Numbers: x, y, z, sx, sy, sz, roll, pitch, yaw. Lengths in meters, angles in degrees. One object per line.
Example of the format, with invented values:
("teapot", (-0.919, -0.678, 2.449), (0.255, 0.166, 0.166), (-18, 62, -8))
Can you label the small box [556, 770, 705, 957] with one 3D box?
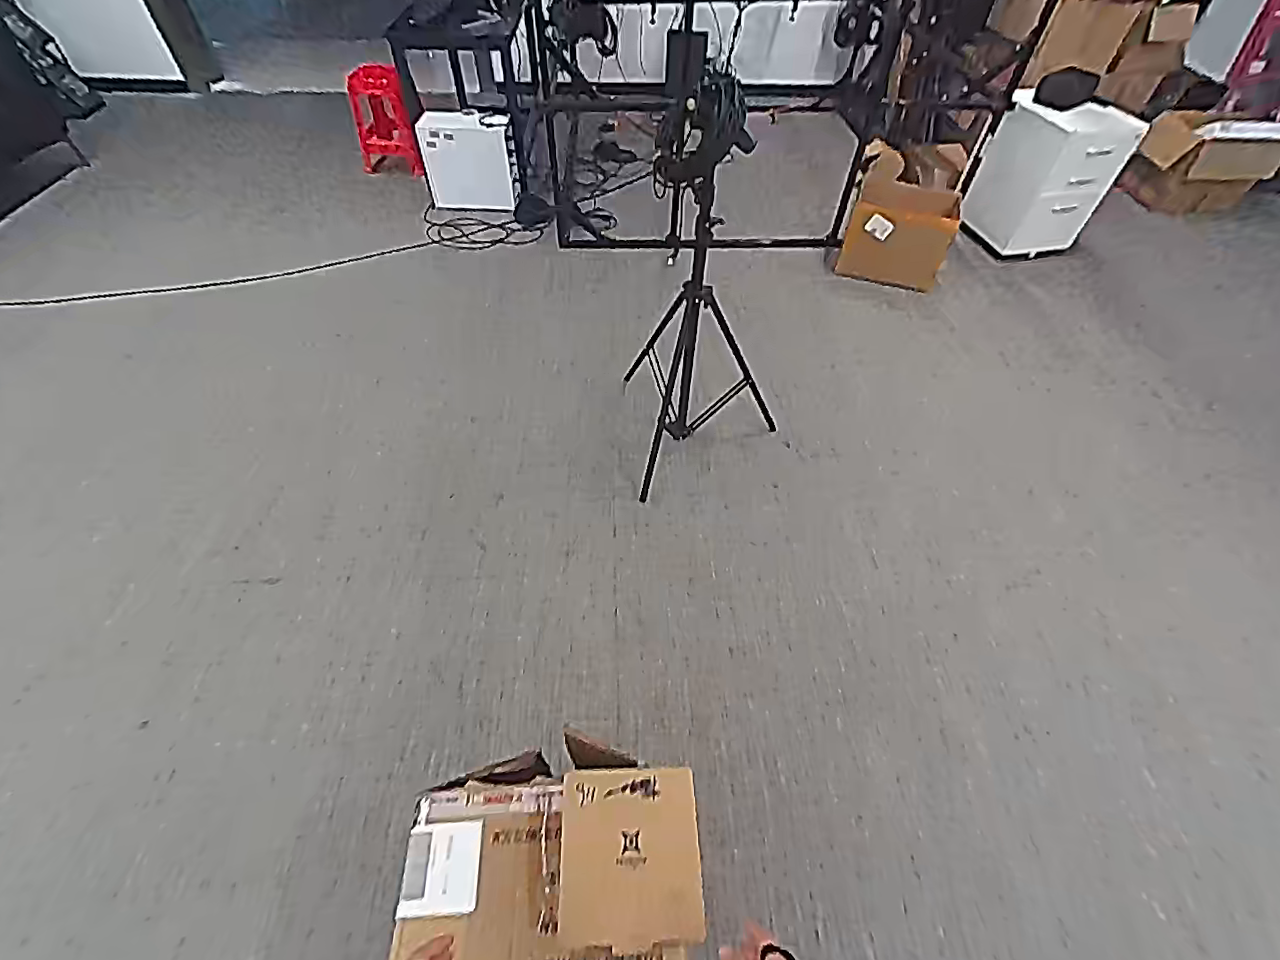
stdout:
("small box", (-0.015, 0.484, 0.695), (0.168, 0.176, 0.179), (0, 53, -4))
